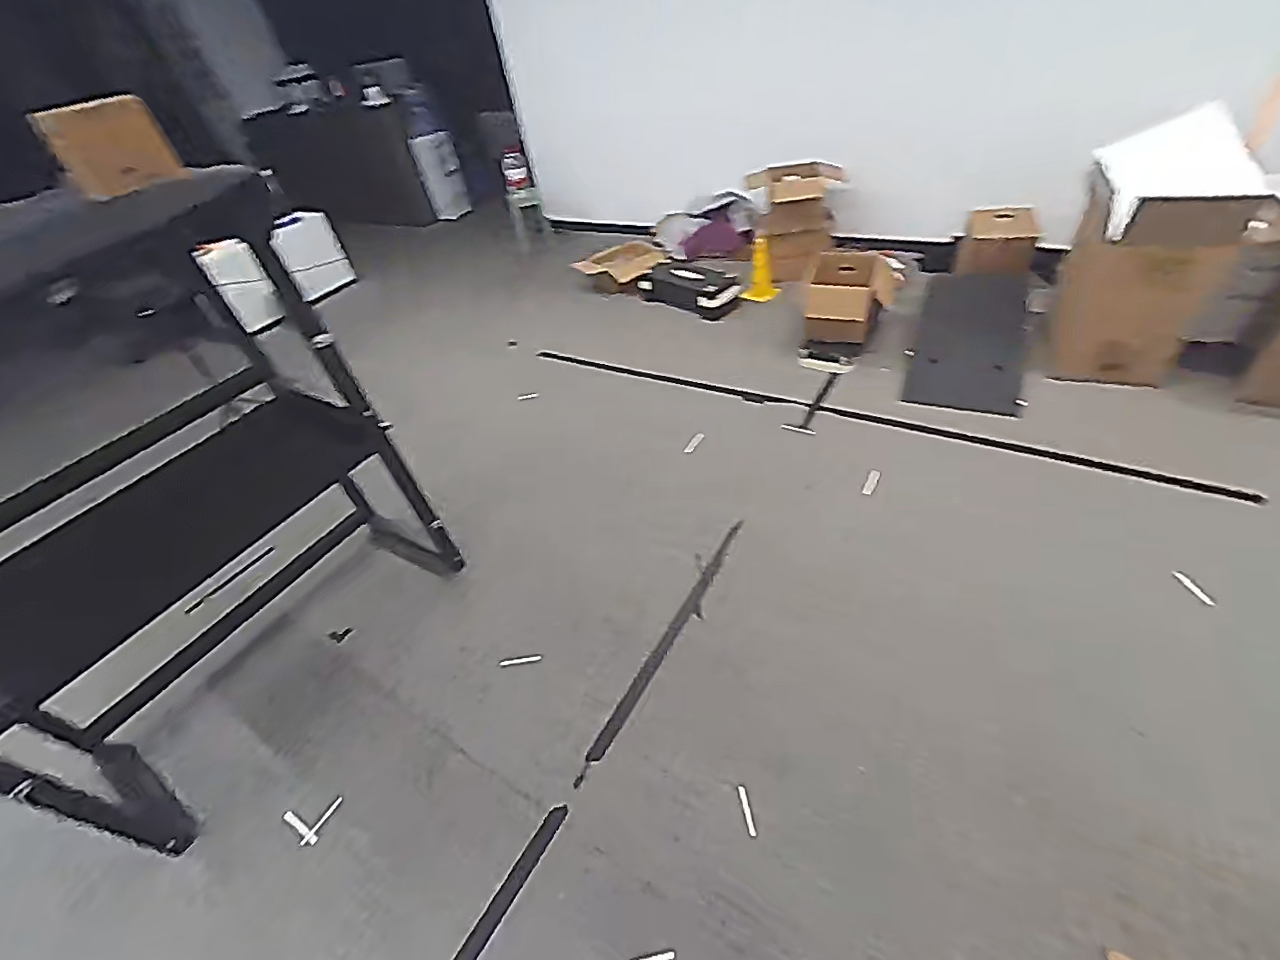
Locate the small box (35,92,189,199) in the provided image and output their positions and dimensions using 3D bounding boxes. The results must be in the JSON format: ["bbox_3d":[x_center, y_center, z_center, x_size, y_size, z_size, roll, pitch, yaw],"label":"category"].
[{"bbox_3d":[-1.169,-0.743,1.206,0.179,0.176,0.168,23,53,32],"label":"small box"}]
